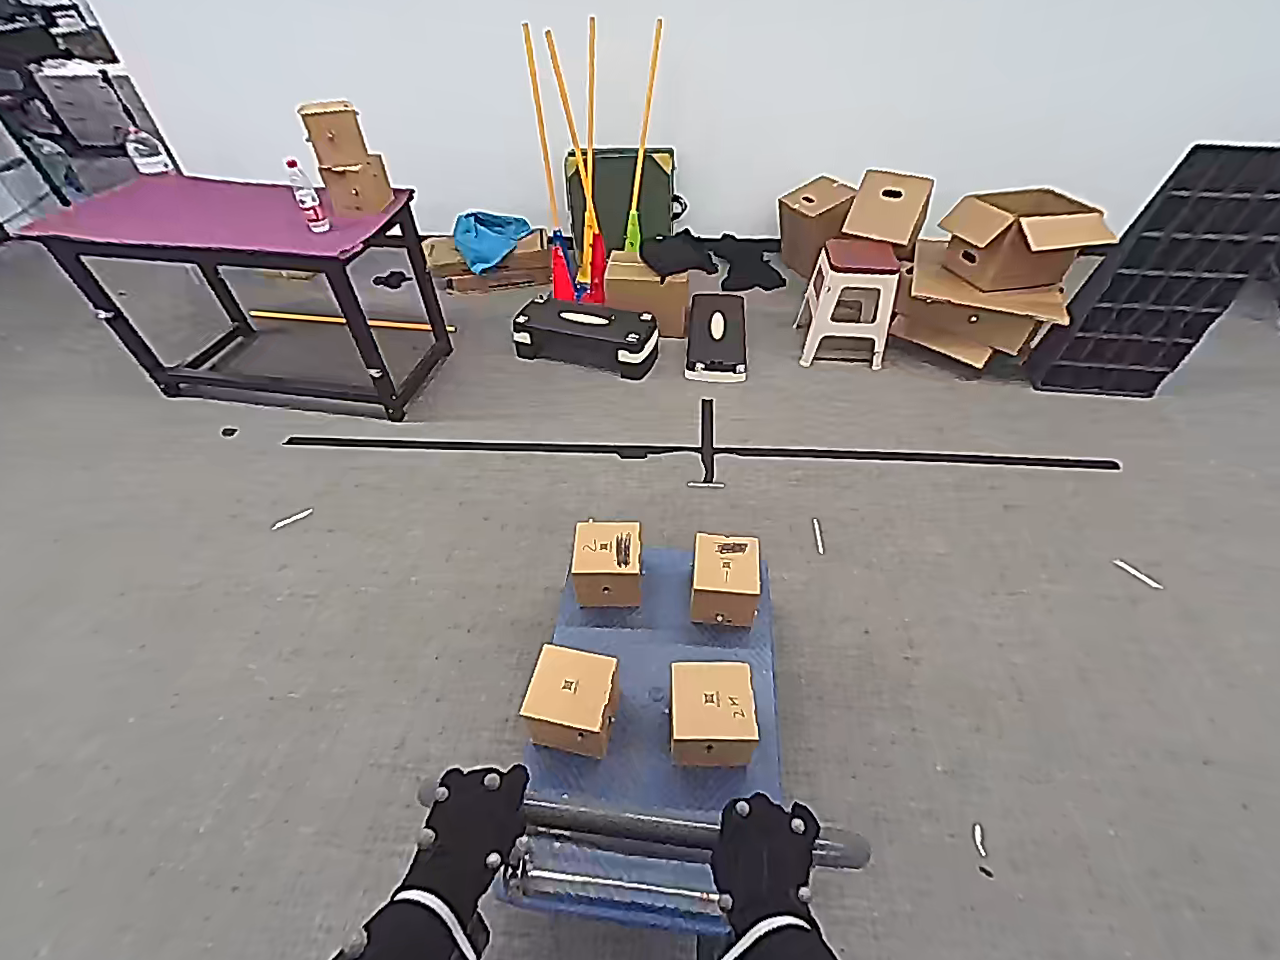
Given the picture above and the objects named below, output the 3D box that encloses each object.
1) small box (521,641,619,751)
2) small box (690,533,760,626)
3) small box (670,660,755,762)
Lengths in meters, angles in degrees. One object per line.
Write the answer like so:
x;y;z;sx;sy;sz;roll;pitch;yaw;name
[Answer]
-0.151;0.497;1.237;0.179;0.176;0.168;10;47;8;small box
0.225;0.266;1.451;0.168;0.176;0.179;5;48;6;small box
0.154;0.519;1.212;0.179;0.176;0.168;1;47;2;small box
